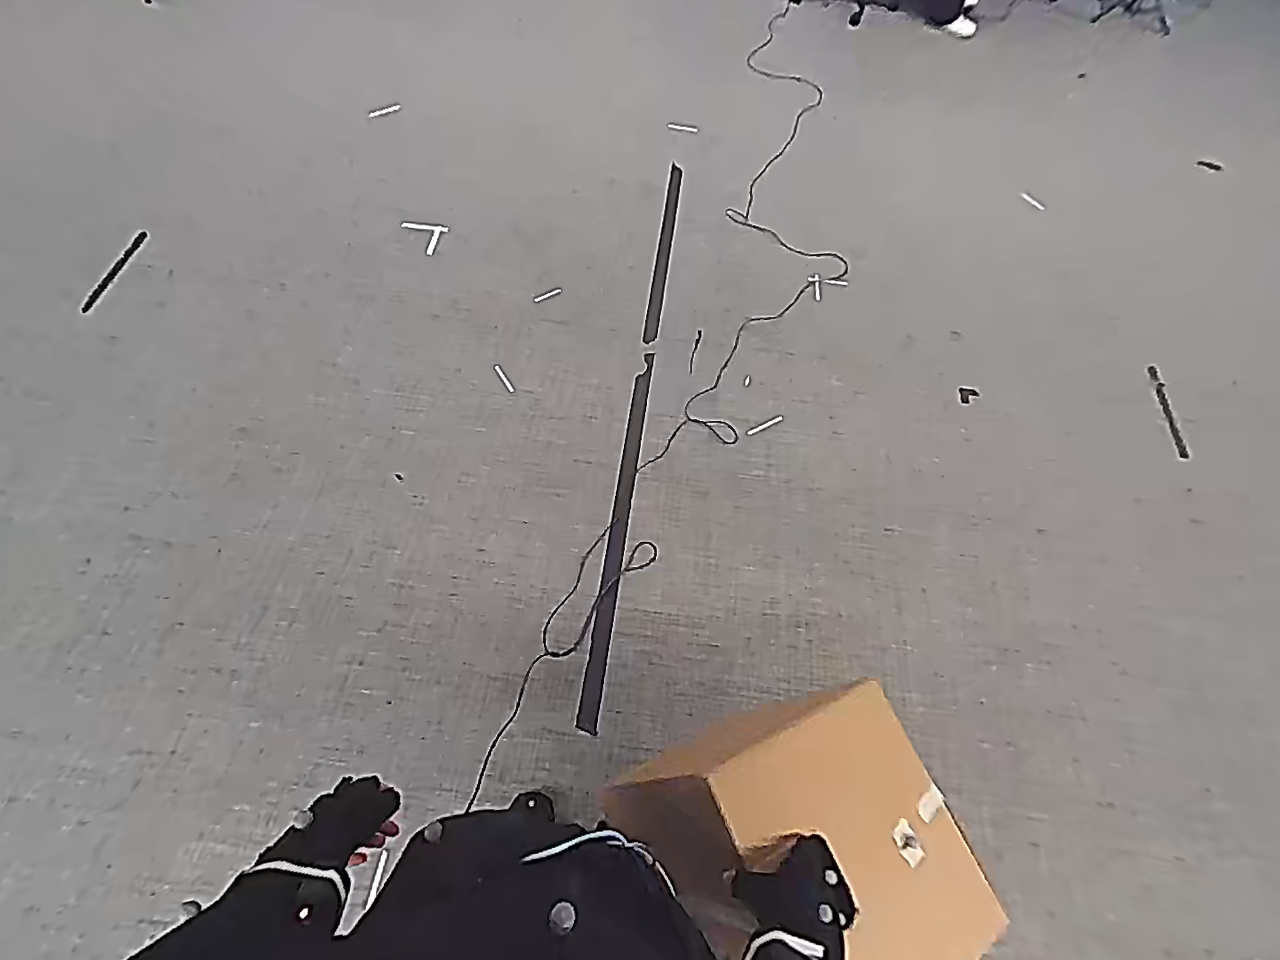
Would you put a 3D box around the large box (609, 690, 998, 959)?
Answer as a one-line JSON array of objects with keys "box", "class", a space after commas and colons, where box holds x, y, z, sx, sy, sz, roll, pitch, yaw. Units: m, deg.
[{"box": [0.197, 0.549, 0.805, 0.320, 0.408, 0.320, -10, 65, -28], "class": "large box"}]
